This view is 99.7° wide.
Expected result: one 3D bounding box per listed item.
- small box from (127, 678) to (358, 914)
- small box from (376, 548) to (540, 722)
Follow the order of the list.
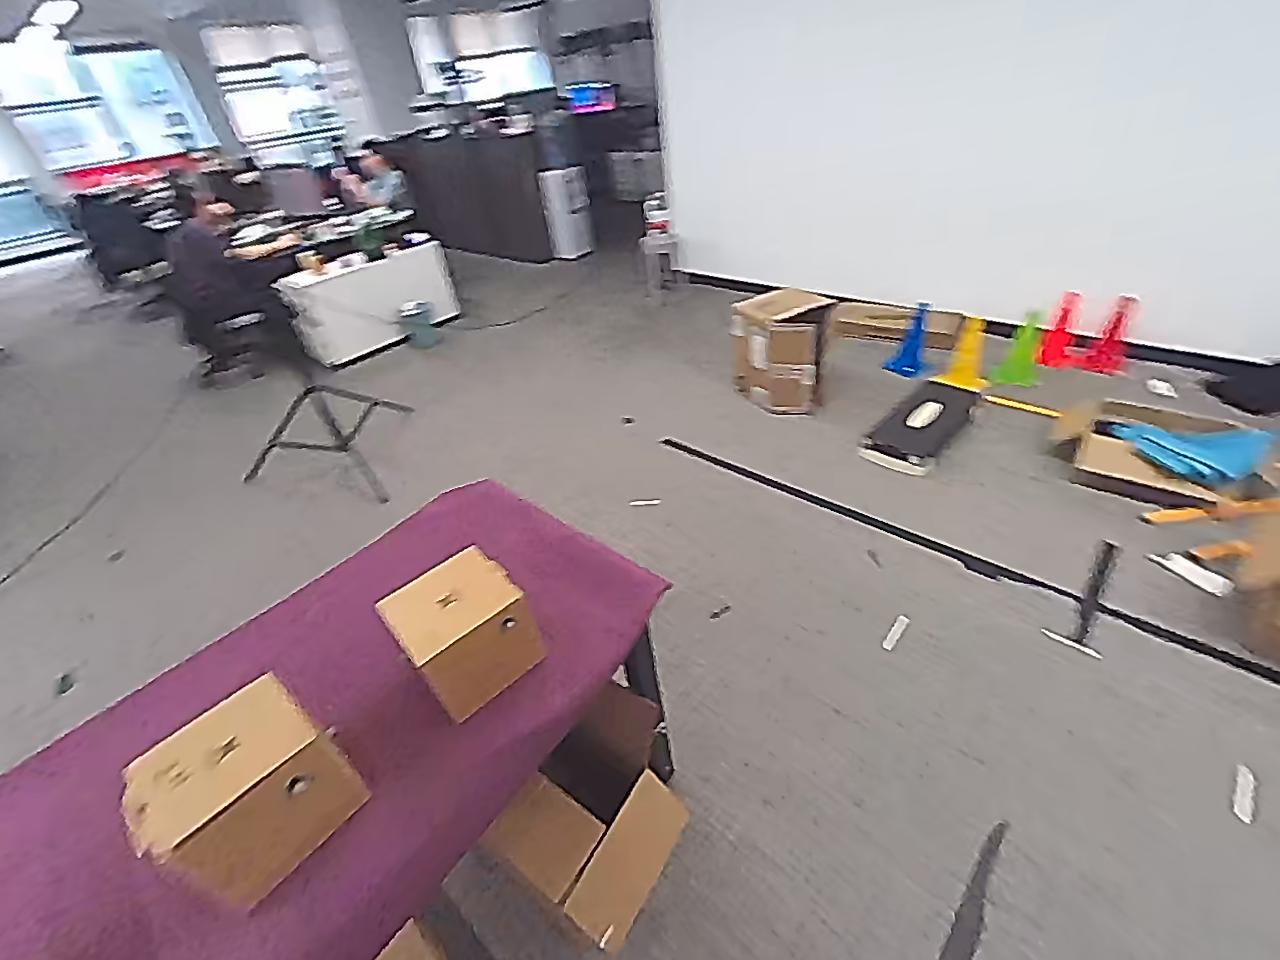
[{"bbox_3d":[-0.508,0.411,0.715,0.168,0.176,0.179,20,46,35],"label":"small box"},{"bbox_3d":[-0.289,0.252,0.883,0.179,0.176,0.168,-34,44,-30],"label":"small box"}]
